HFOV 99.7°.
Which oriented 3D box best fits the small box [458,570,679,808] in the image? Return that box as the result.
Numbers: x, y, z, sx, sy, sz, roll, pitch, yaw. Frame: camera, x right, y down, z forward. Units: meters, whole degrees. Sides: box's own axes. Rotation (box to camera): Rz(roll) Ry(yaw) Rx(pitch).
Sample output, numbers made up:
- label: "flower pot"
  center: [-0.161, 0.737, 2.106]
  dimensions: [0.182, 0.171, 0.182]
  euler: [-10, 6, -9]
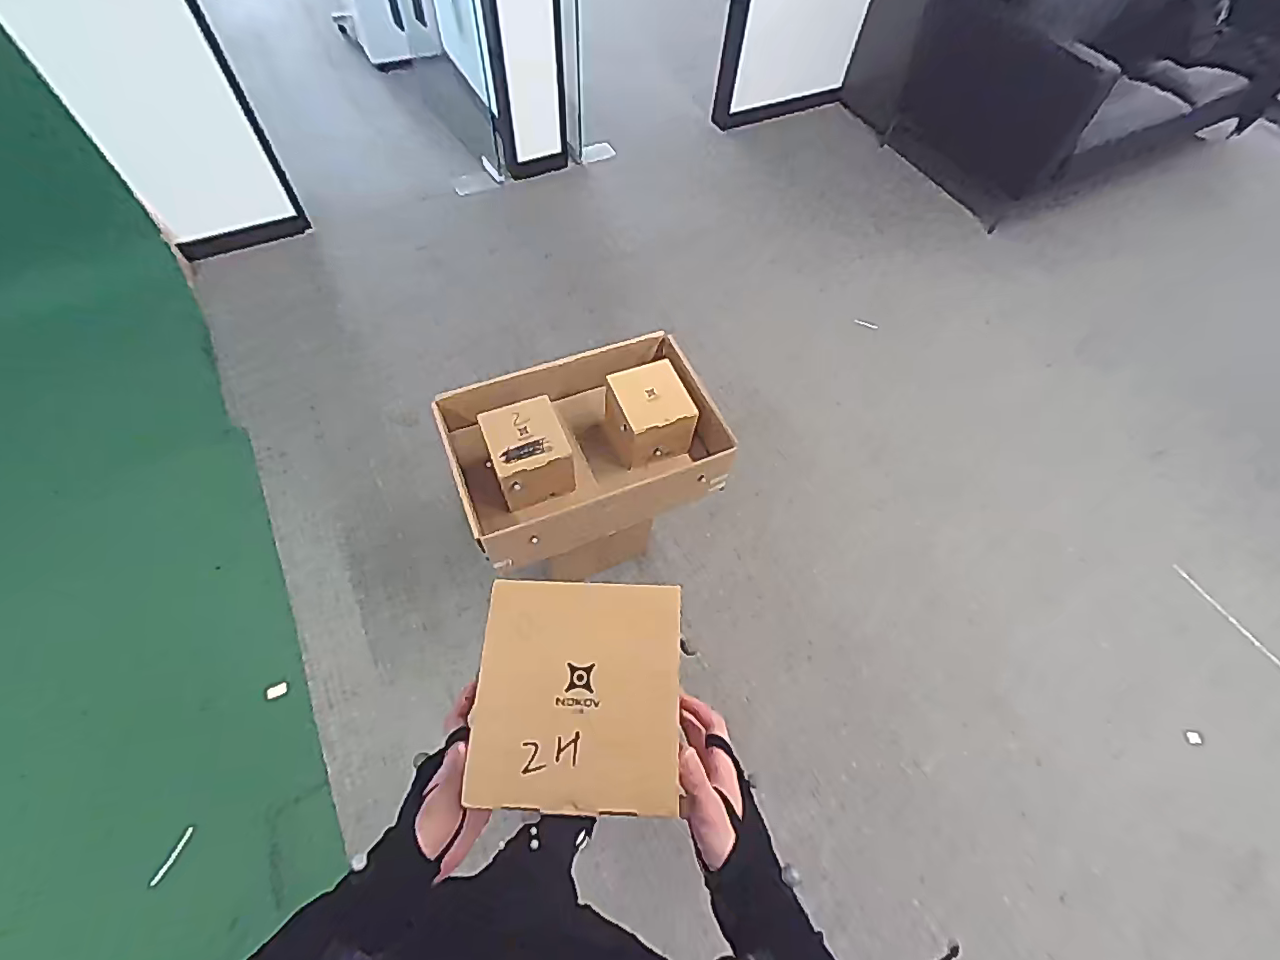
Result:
- label: "small box"
  center: [-0.050, 0.195, 0.510]
  dimensions: [0.168, 0.176, 0.179]
  euler: [1, 66, 3]

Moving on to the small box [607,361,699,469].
- label: "small box"
  center: [0.023, -0.156, 1.323]
  dimensions: [0.168, 0.176, 0.179]
  euler: [-20, 64, -15]
